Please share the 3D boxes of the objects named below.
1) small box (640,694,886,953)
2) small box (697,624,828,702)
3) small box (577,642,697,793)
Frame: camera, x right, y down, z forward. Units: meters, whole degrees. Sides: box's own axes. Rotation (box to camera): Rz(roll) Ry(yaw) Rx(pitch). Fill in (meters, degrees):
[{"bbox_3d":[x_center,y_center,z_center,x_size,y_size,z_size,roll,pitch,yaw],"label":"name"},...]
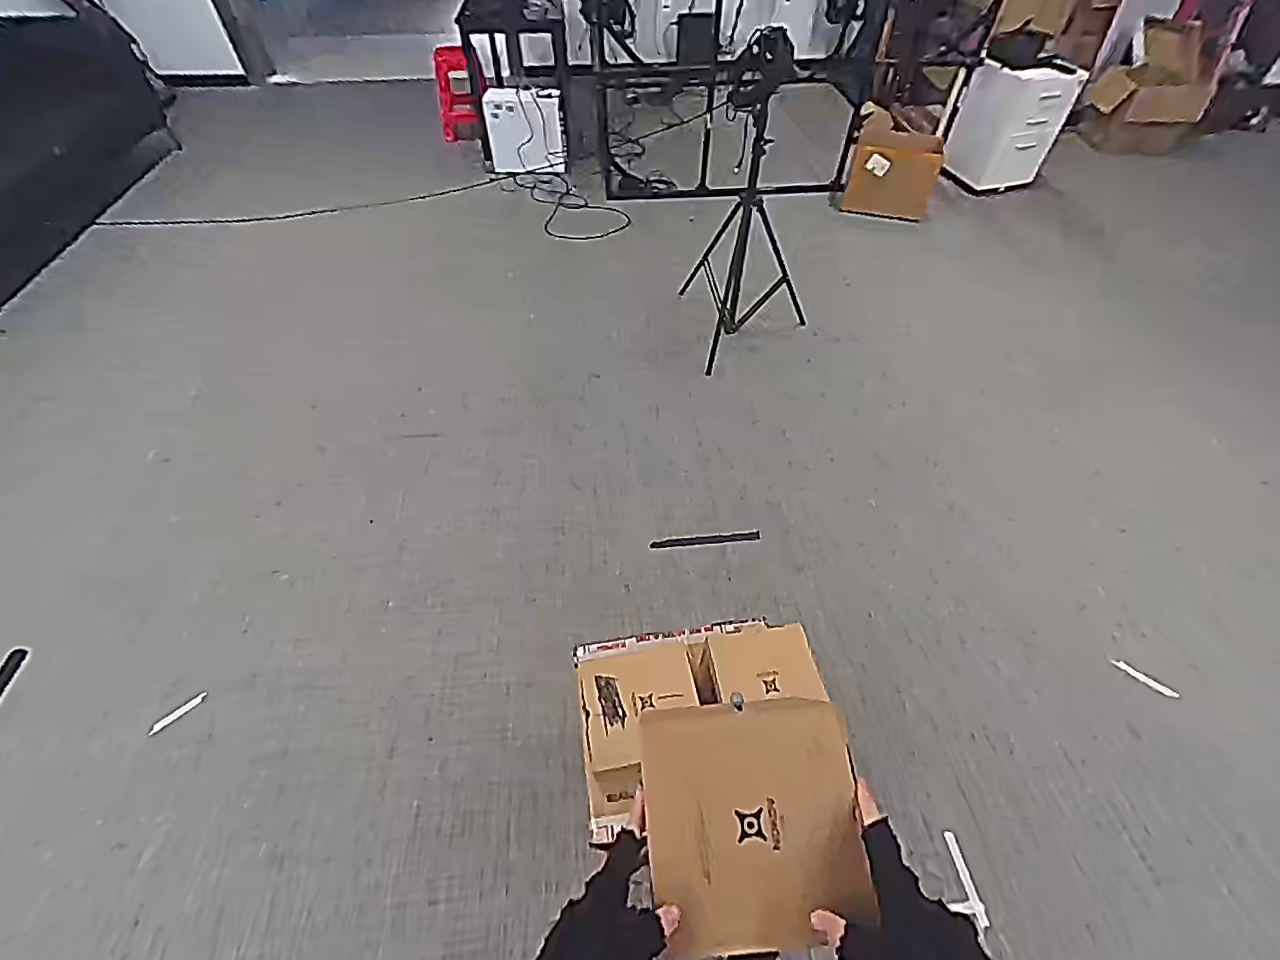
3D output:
[{"bbox_3d":[0.094,0.296,0.506,0.179,0.176,0.168,-6,69,0],"label":"small box"},{"bbox_3d":[0.197,0.364,0.899,0.168,0.176,0.179,-5,50,-6],"label":"small box"},{"bbox_3d":[0.002,0.388,0.879,0.179,0.176,0.168,-10,50,-6],"label":"small box"}]
